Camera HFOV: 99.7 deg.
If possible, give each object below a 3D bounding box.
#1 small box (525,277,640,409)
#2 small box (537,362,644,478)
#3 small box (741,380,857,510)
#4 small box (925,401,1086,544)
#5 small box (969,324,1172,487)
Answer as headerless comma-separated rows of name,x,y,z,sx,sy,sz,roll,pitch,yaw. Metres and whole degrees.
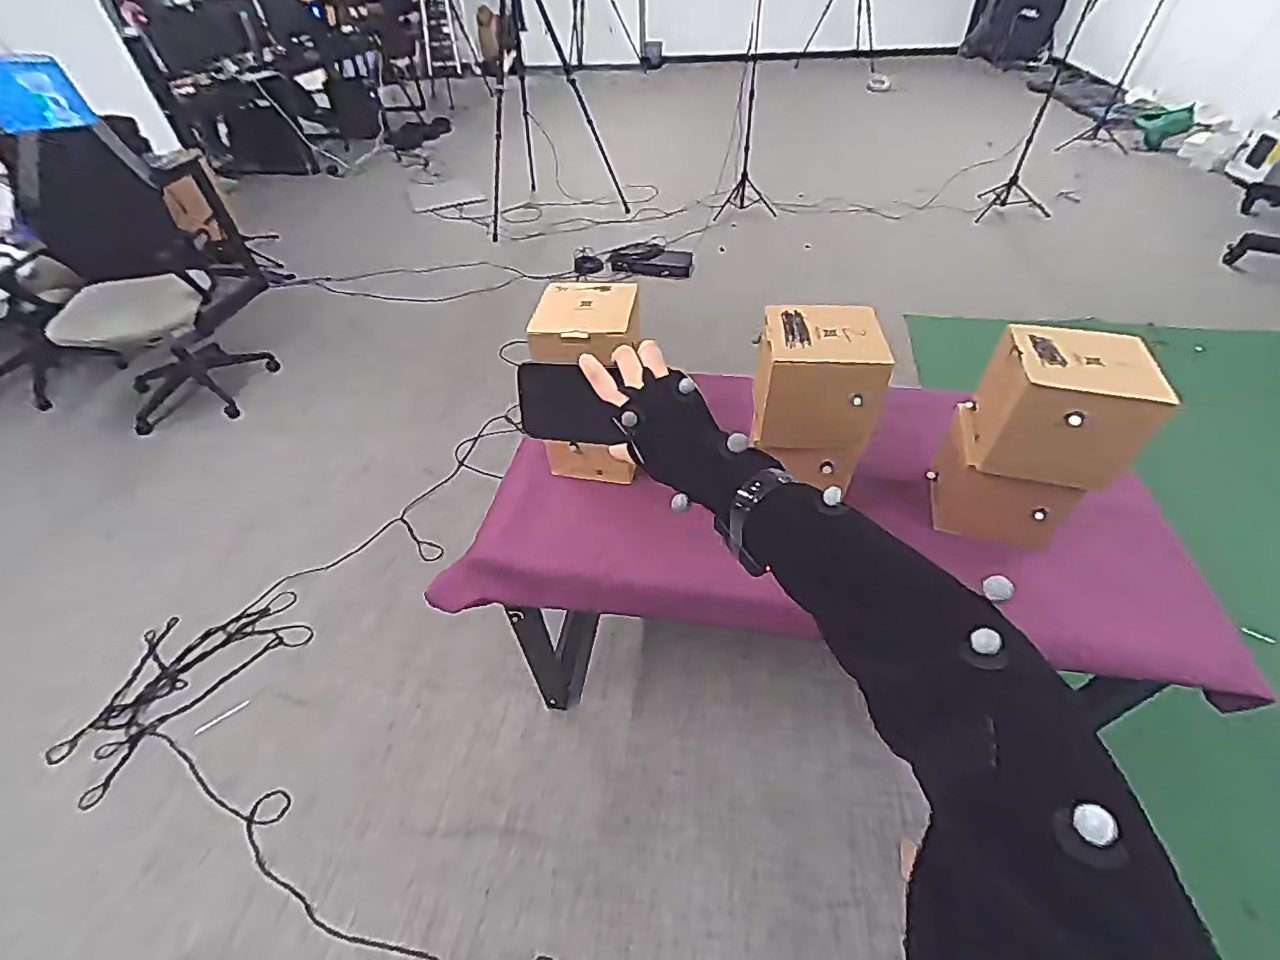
small box,-0.092,-0.245,0.975,0.168,0.176,0.179,4,48,6
small box,-0.088,-0.126,1.088,0.168,0.176,0.179,8,47,10
small box,0.290,-0.063,1.007,0.179,0.176,0.168,7,47,10
small box,0.619,-0.010,0.942,0.179,0.176,0.168,12,48,14
small box,0.619,-0.110,0.812,0.179,0.176,0.168,12,48,13
